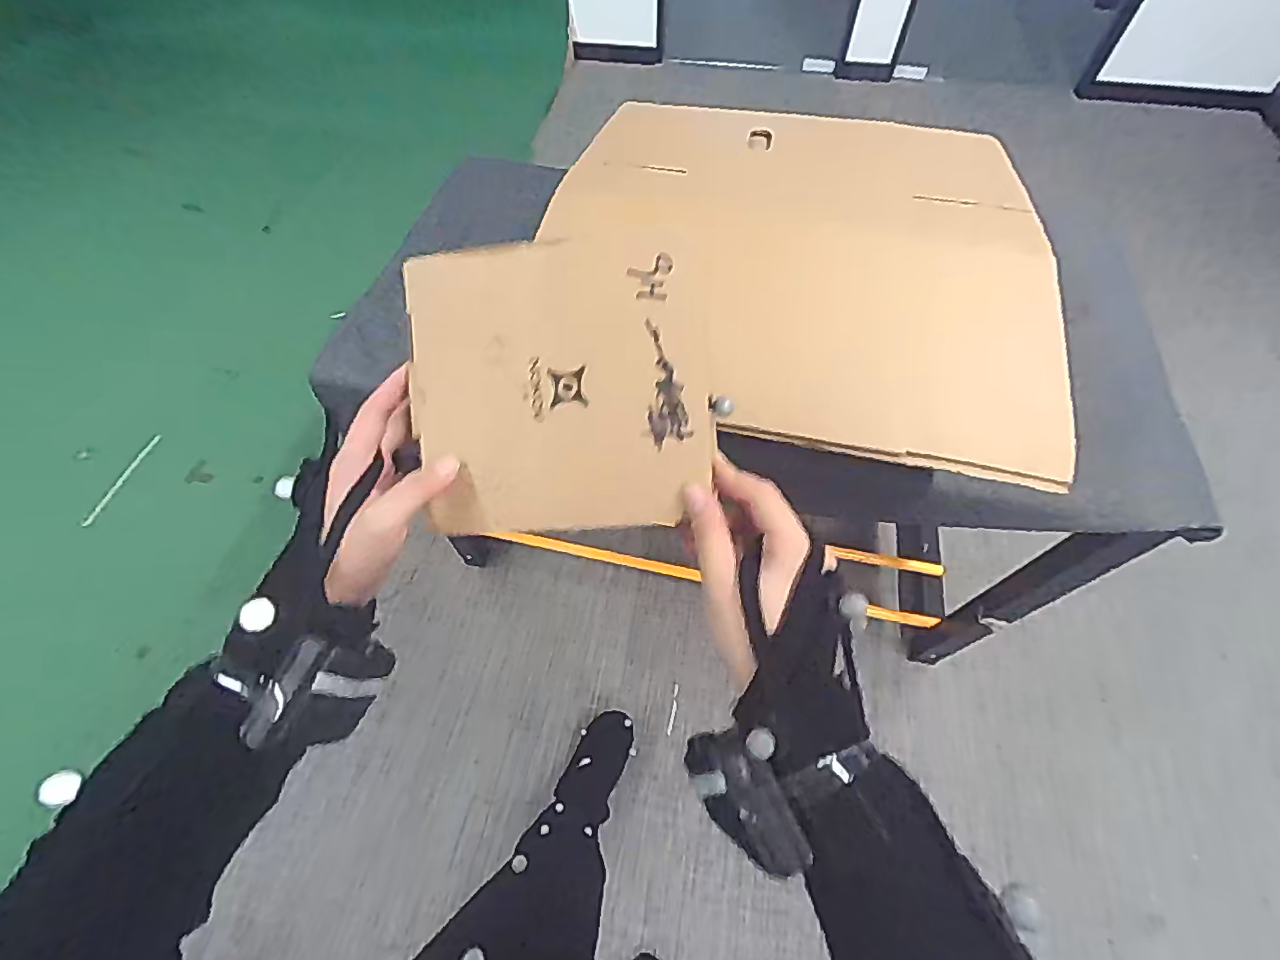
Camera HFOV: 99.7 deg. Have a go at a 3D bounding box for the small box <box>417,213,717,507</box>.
[{"bbox_3d":[-0.036,-0.068,0.397,0.179,0.176,0.168,-3,92,9],"label":"small box"}]
